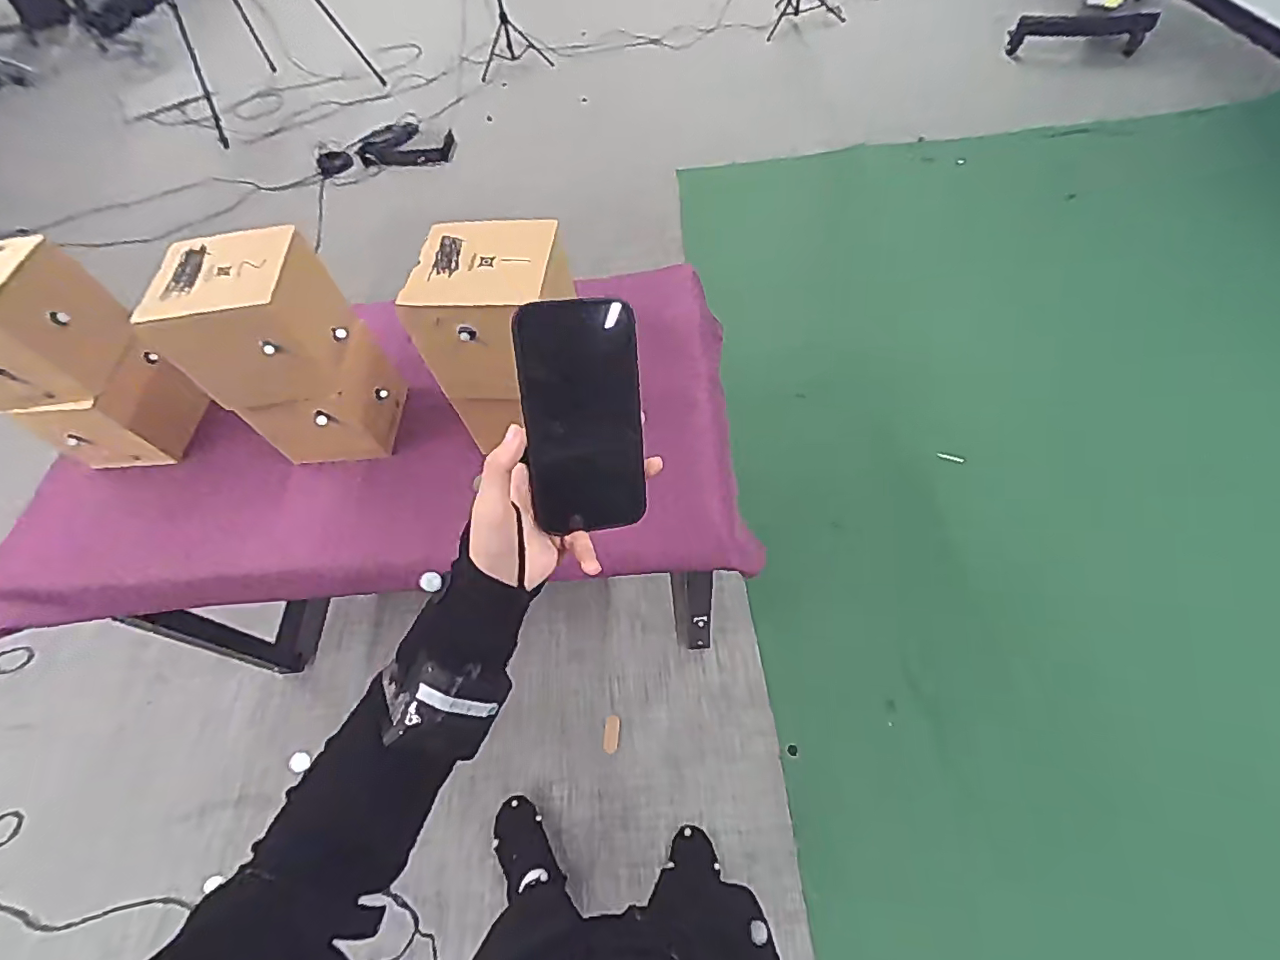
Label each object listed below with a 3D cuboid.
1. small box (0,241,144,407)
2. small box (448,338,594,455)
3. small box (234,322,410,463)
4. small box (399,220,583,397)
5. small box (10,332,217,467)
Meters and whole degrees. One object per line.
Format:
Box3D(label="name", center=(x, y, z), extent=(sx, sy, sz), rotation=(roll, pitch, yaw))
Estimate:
Box3D(label="small box", center=(-0.924, -0.227, 0.822), extent=(0.168, 0.176, 0.179), rotation=(-7, 58, 1))
Box3D(label="small box", center=(-0.179, -0.153, 0.883), extent=(0.179, 0.176, 0.168), rotation=(1, 58, 8))
Box3D(label="small box", center=(-0.518, -0.142, 0.915), extent=(0.179, 0.176, 0.168), rotation=(-4, 58, 4))
Box3D(label="small box", center=(-0.186, -0.227, 0.737), extent=(0.179, 0.176, 0.168), rotation=(1, 58, 7))
Box3D(label="small box", center=(-0.907, -0.133, 0.956), extent=(0.168, 0.176, 0.179), rotation=(-3, 58, 5))
